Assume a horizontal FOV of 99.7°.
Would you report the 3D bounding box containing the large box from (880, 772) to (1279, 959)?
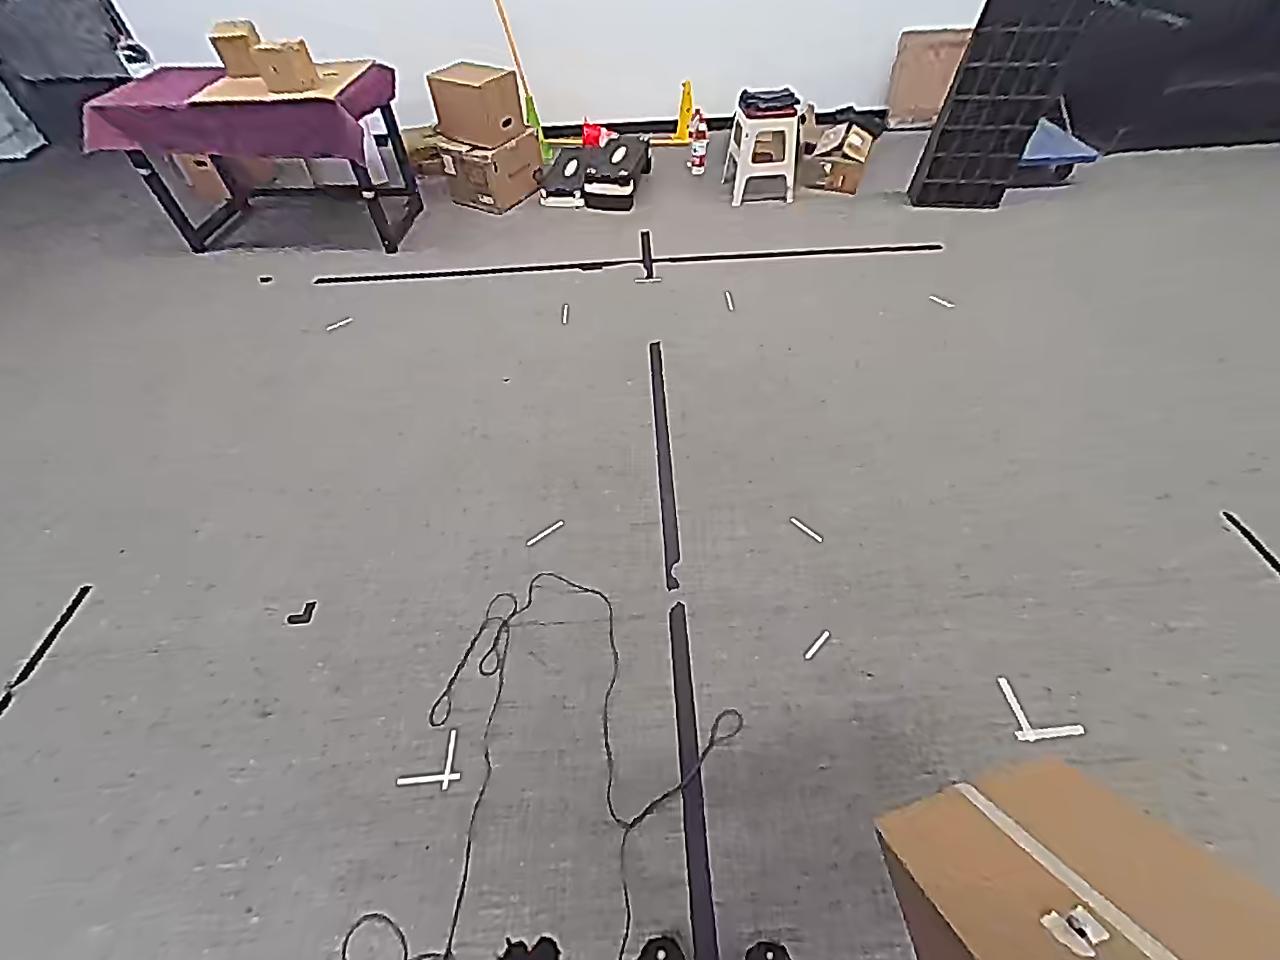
[{"bbox_3d":[0.572,0.646,0.657,0.320,0.408,0.320,-18,90,-3],"label":"large box"}]
